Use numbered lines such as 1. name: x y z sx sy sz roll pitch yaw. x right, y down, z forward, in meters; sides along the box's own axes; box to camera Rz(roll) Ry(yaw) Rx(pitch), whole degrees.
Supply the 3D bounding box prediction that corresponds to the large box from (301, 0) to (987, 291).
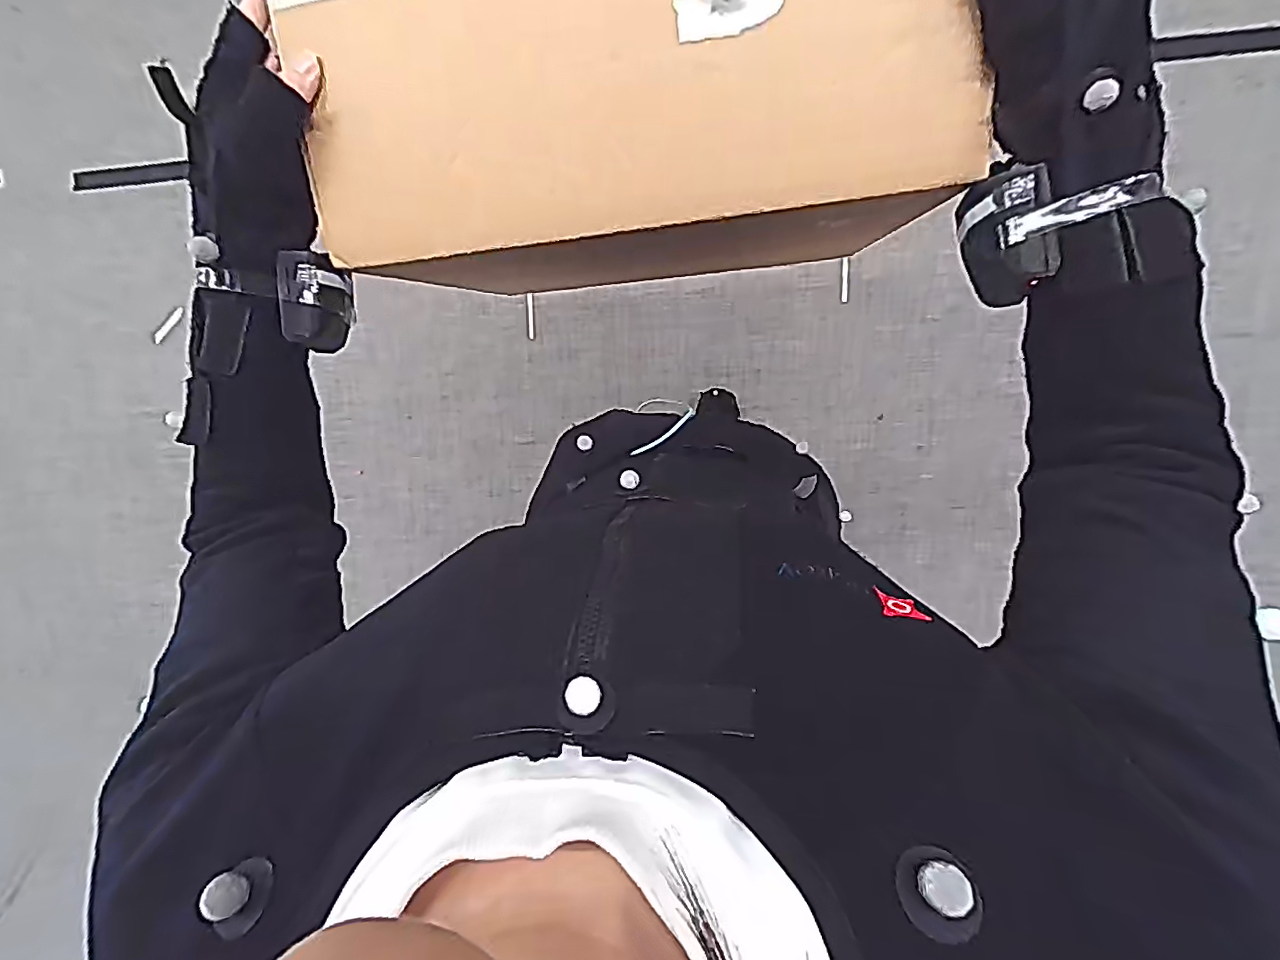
1. large box: 0.002 -0.353 0.446 0.408 0.320 0.320 -4 106 9
